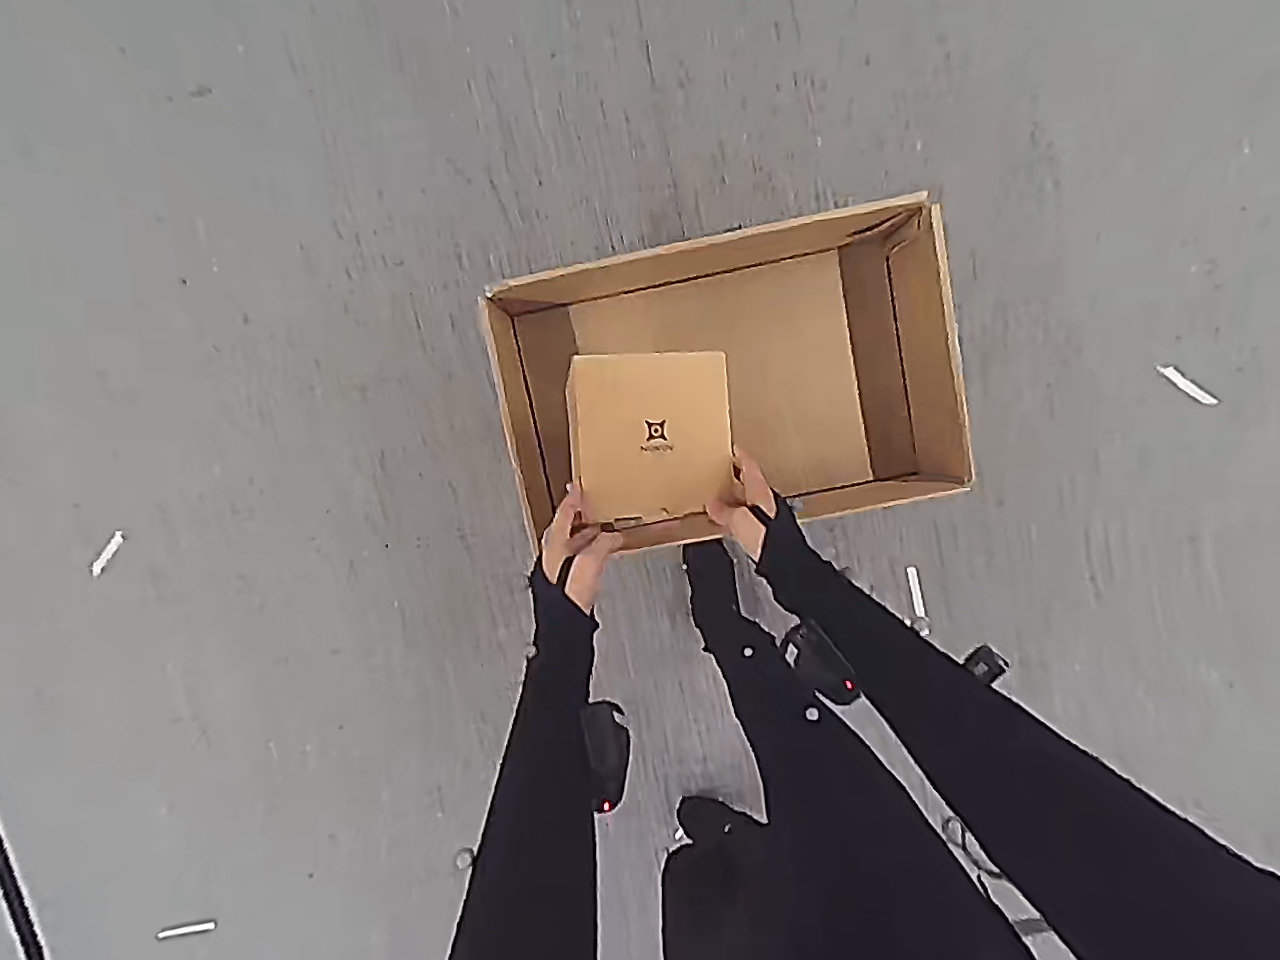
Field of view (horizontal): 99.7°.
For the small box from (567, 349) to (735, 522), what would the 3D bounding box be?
[{"bbox_3d":[0.003,-0.046,0.645,0.168,0.176,0.179,-5,90,-9],"label":"small box"}]
